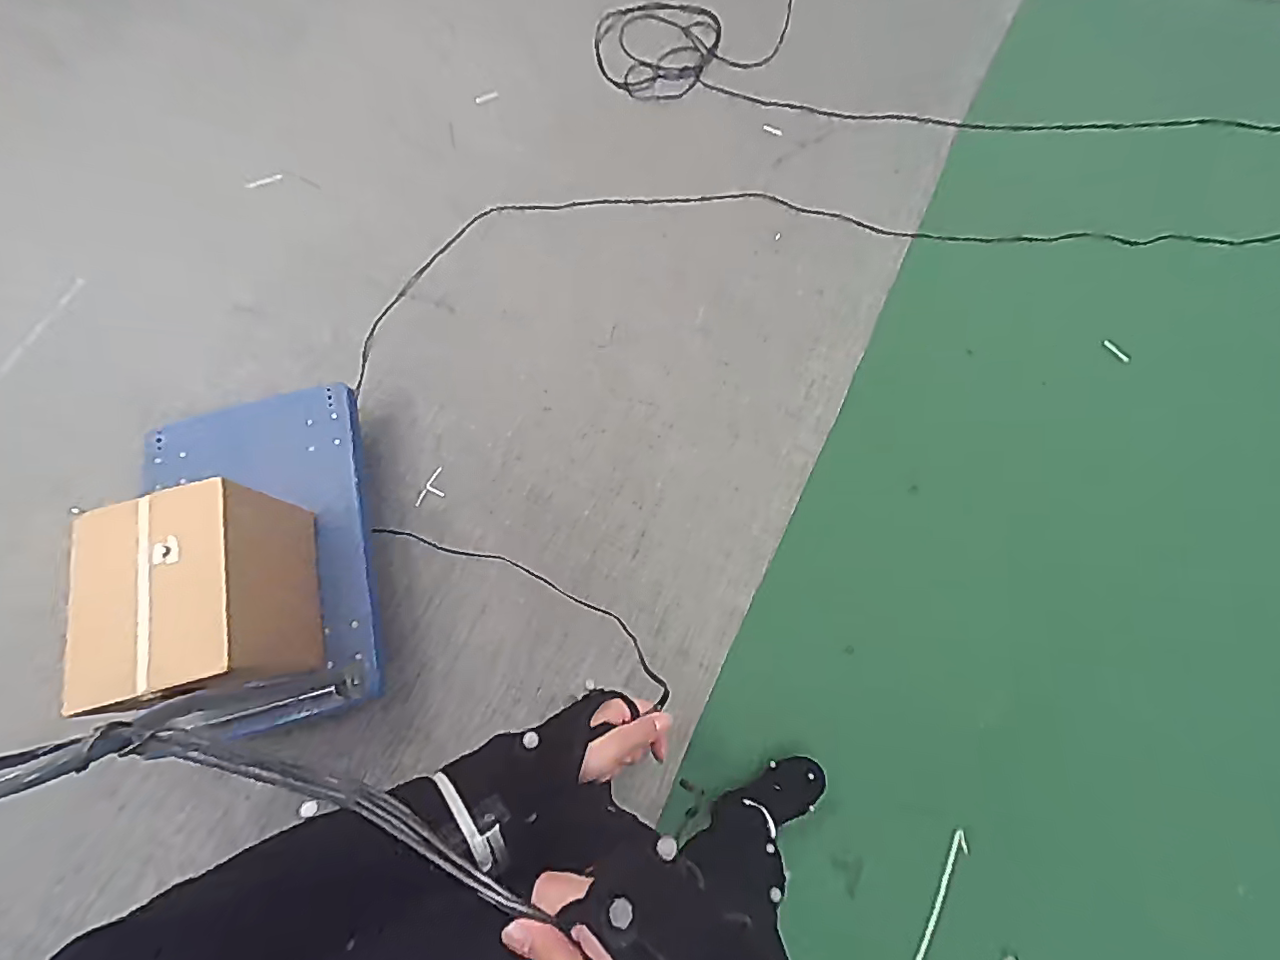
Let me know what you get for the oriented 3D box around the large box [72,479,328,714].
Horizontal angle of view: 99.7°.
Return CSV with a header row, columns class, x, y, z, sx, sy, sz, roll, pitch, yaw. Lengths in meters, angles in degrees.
class,x,y,z,sx,sy,sz,roll,pitch,yaw
large box,-0.951,0.264,1.209,0.320,0.320,0.408,-15,71,-2
